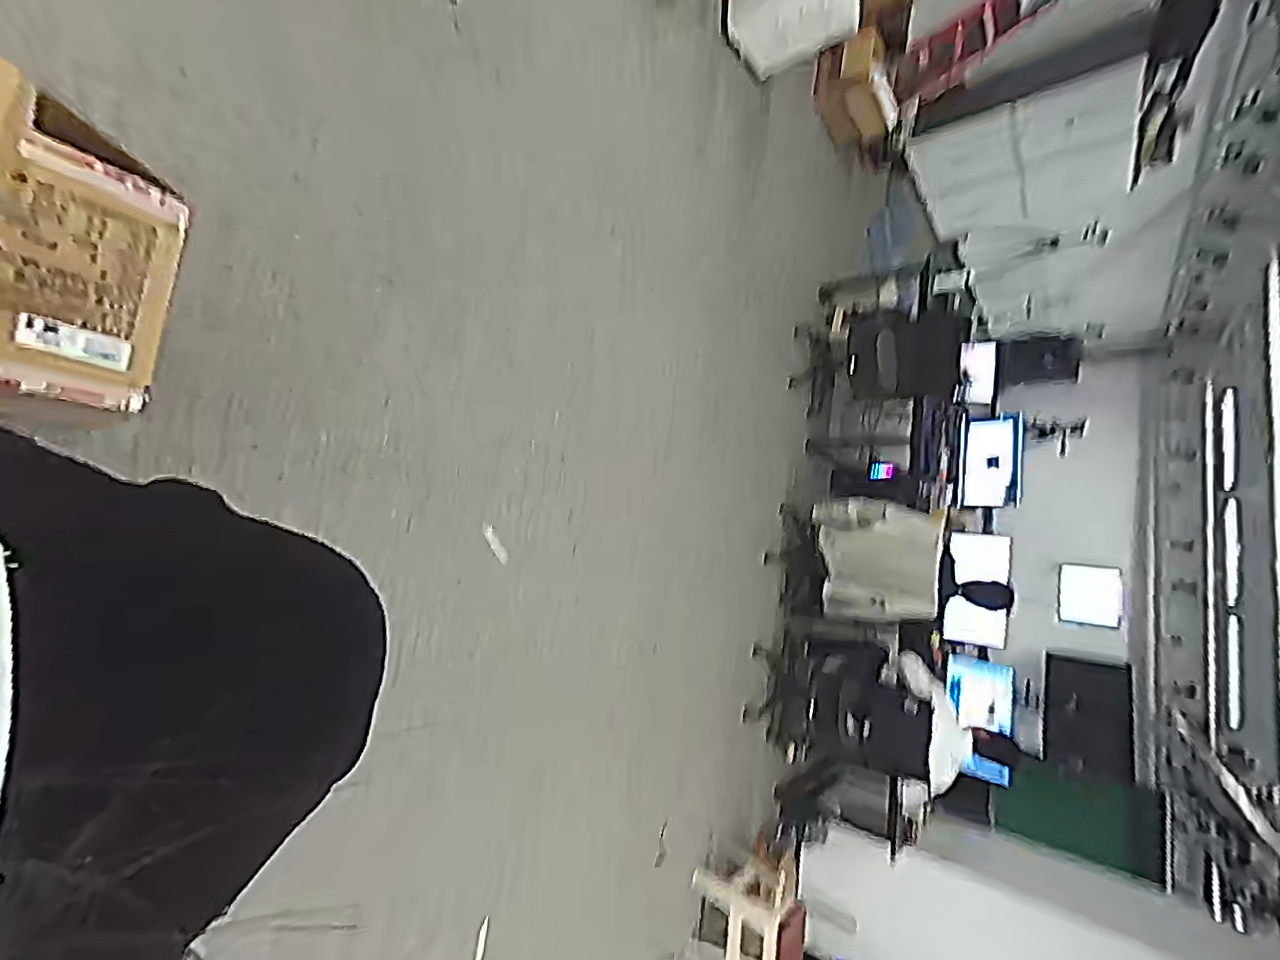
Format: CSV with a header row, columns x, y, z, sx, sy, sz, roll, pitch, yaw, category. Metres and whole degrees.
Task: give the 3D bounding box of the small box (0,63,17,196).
x,y,z,sx,sy,sz,roll,pitch,yaw,category
-0.665,-0.291,0.451,0.168,0.176,0.179,18,80,-49,small box
